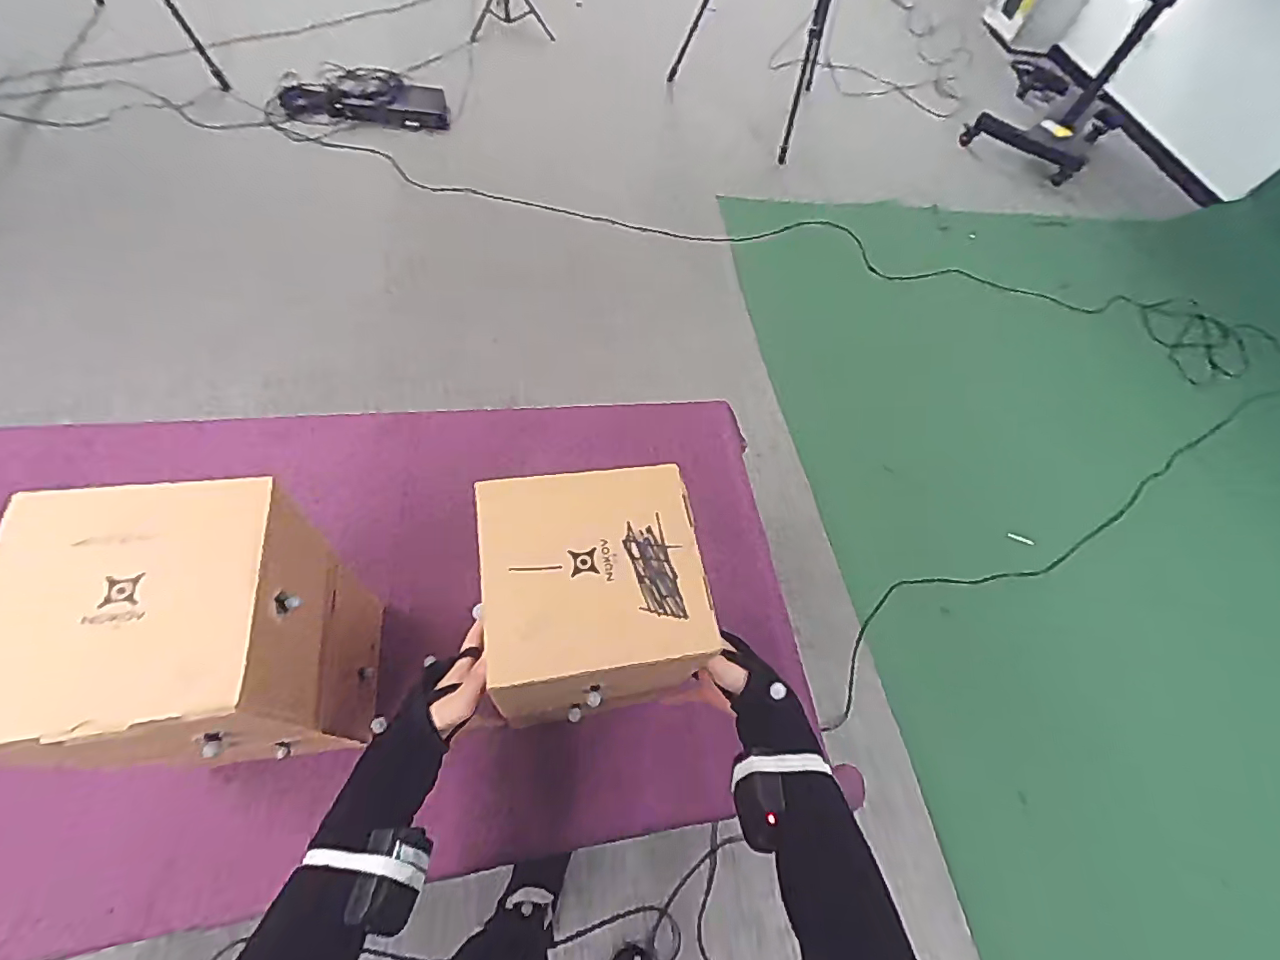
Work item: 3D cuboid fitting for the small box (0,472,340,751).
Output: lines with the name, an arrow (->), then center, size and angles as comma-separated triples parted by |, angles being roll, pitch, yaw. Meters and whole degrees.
small box -> -0.363, 0.113, 0.442 | 0.168, 0.176, 0.179 | -4, 60, -14

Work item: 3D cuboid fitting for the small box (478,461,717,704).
small box -> -0.050, 0.099, 0.499 | 0.179, 0.176, 0.168 | -5, 61, -12

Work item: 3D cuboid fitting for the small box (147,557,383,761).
small box -> -0.396, 0.195, 0.578 | 0.179, 0.176, 0.168 | -2, 60, -12
